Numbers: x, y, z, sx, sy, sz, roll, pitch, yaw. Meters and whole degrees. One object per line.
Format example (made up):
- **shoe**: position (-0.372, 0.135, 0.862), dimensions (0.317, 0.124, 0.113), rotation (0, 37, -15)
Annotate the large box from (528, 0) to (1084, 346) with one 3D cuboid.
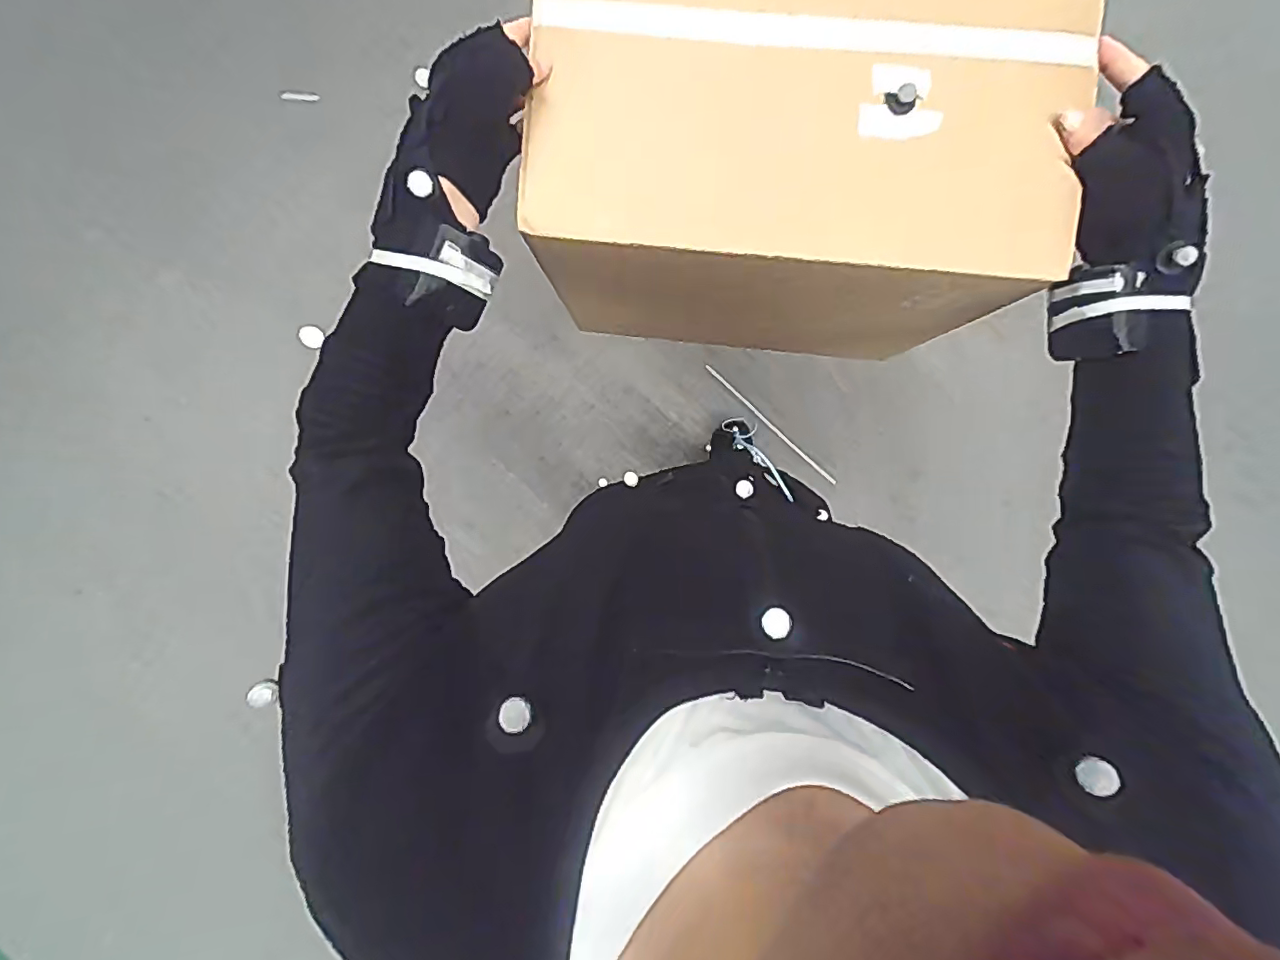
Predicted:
- **large box**: position (0.124, -0.332, 0.550), dimensions (0.408, 0.320, 0.320), rotation (5, 93, 2)
